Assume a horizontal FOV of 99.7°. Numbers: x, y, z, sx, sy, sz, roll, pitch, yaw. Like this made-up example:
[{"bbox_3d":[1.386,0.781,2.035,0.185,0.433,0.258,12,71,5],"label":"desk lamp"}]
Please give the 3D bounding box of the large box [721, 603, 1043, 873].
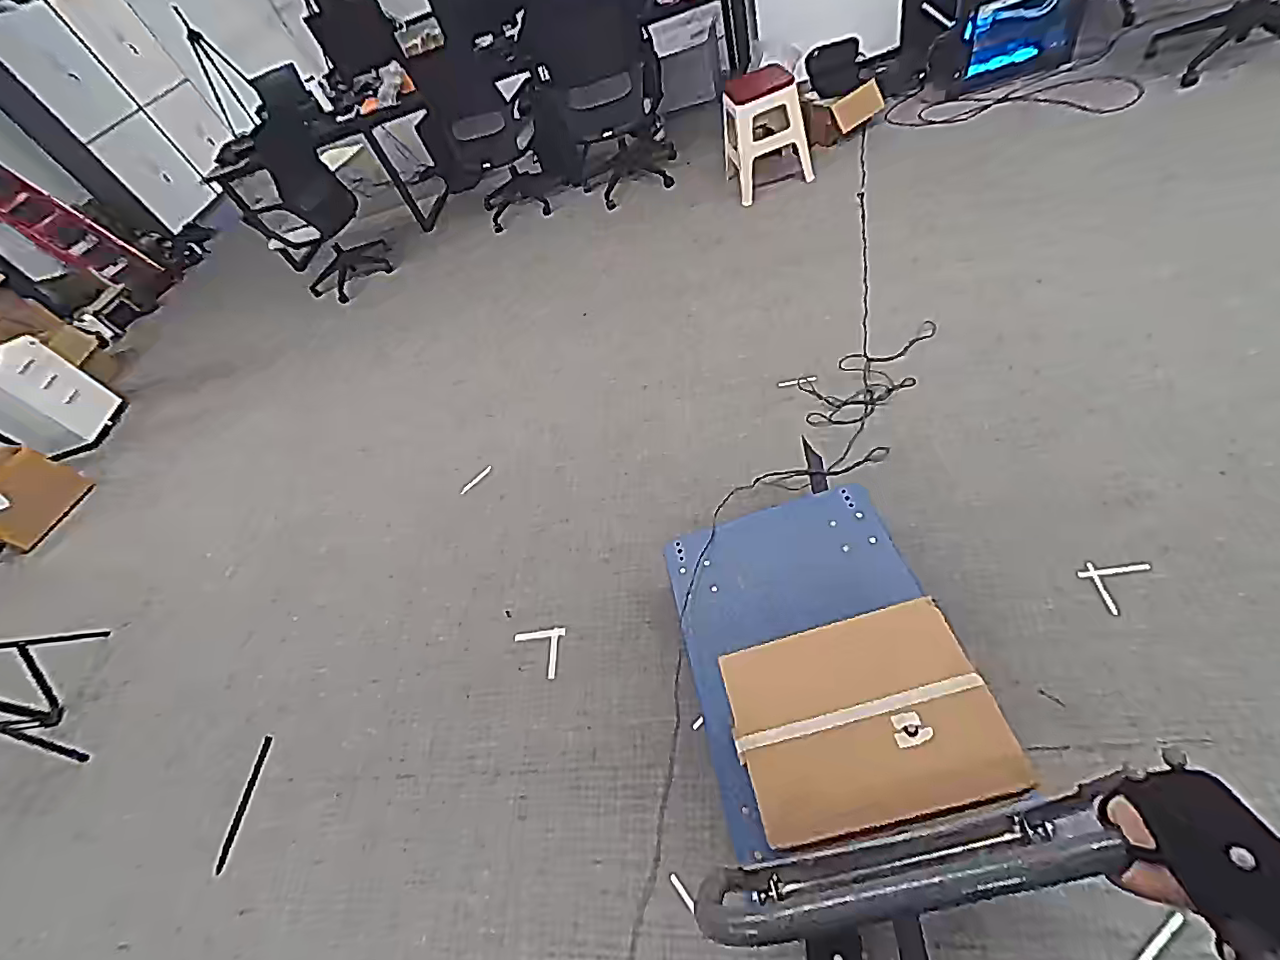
[{"bbox_3d":[0.402,0.482,0.991,0.408,0.320,0.320,-18,50,6],"label":"large box"}]
